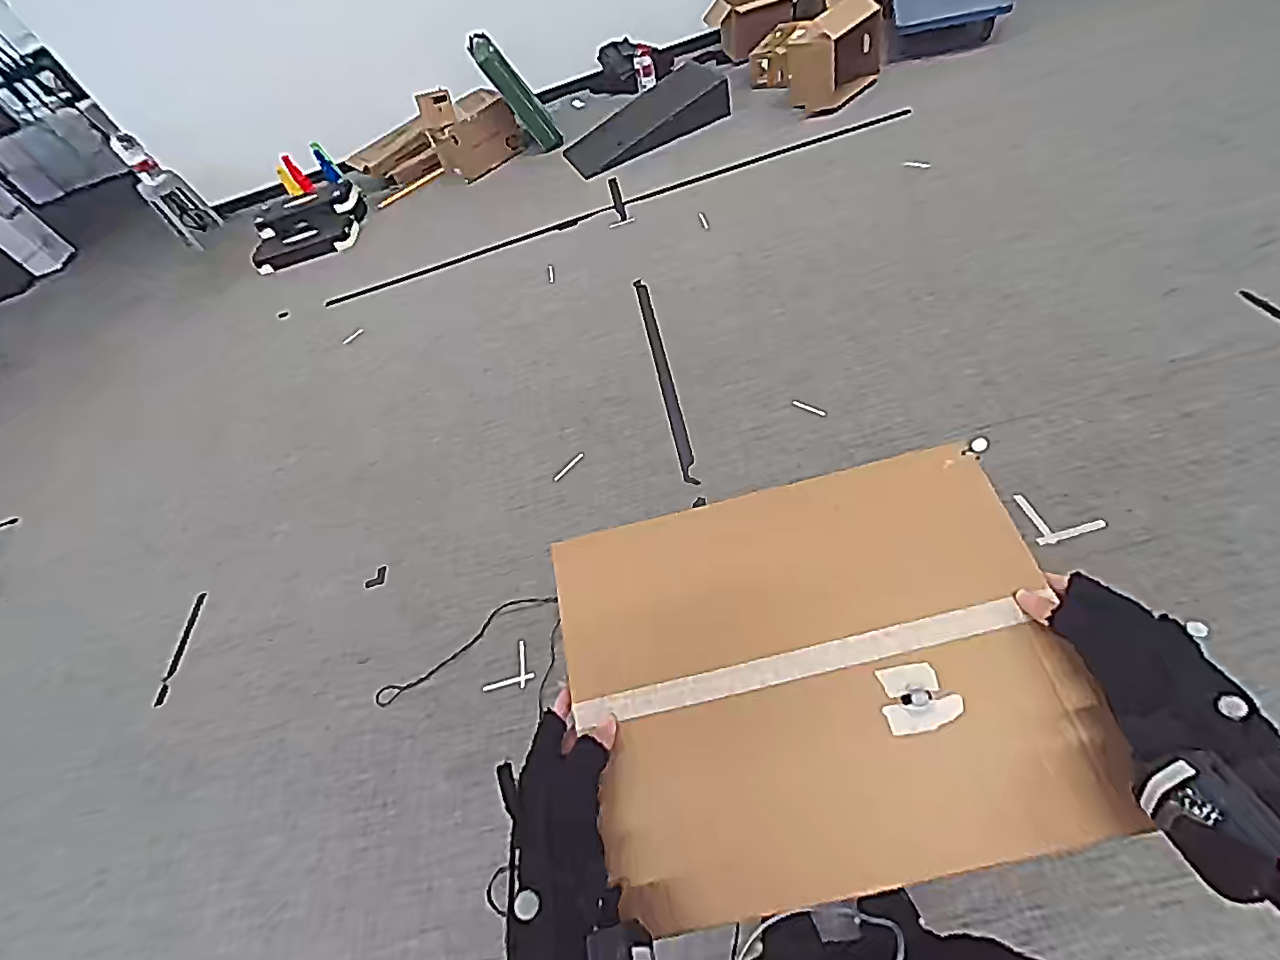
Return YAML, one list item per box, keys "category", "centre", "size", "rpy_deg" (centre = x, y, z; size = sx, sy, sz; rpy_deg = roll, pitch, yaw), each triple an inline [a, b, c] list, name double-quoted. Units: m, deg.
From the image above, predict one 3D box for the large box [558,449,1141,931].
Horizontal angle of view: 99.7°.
- category: "large box"
  centre: [0.160, 0.217, 0.593]
  size: [0.408, 0.320, 0.320]
  rpy_deg: [-15, 63, 1]
